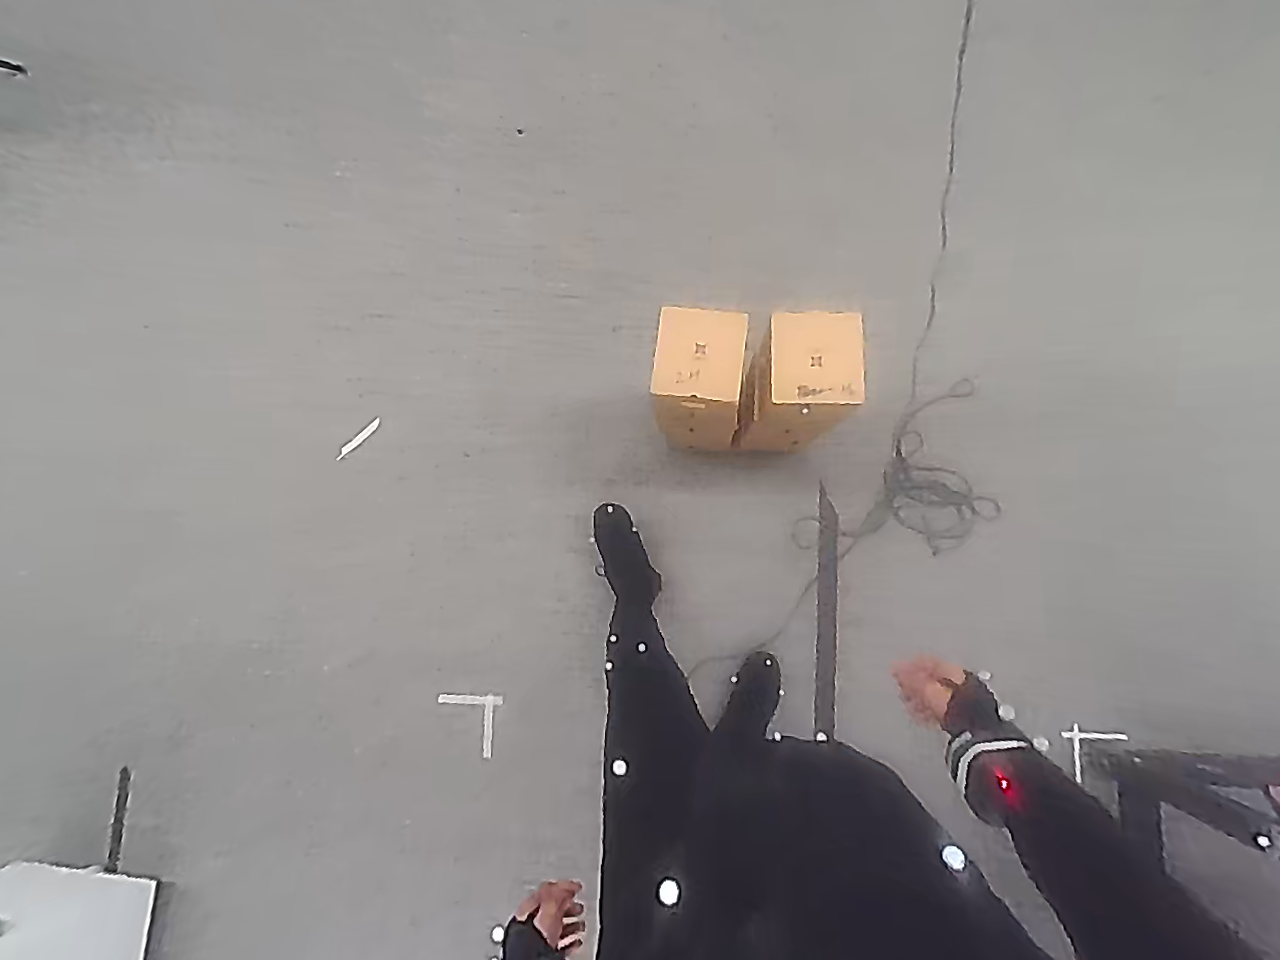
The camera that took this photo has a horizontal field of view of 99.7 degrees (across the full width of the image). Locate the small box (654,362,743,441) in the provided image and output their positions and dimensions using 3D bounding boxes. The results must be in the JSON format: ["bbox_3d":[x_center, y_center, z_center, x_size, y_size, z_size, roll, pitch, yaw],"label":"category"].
[{"bbox_3d":[0.132,-0.188,1.223,0.179,0.176,0.168,6,83,7],"label":"small box"}]

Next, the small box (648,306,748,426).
[{"bbox_3d":[0.112,-0.217,1.062,0.168,0.176,0.179,7,83,7],"label":"small box"}]
